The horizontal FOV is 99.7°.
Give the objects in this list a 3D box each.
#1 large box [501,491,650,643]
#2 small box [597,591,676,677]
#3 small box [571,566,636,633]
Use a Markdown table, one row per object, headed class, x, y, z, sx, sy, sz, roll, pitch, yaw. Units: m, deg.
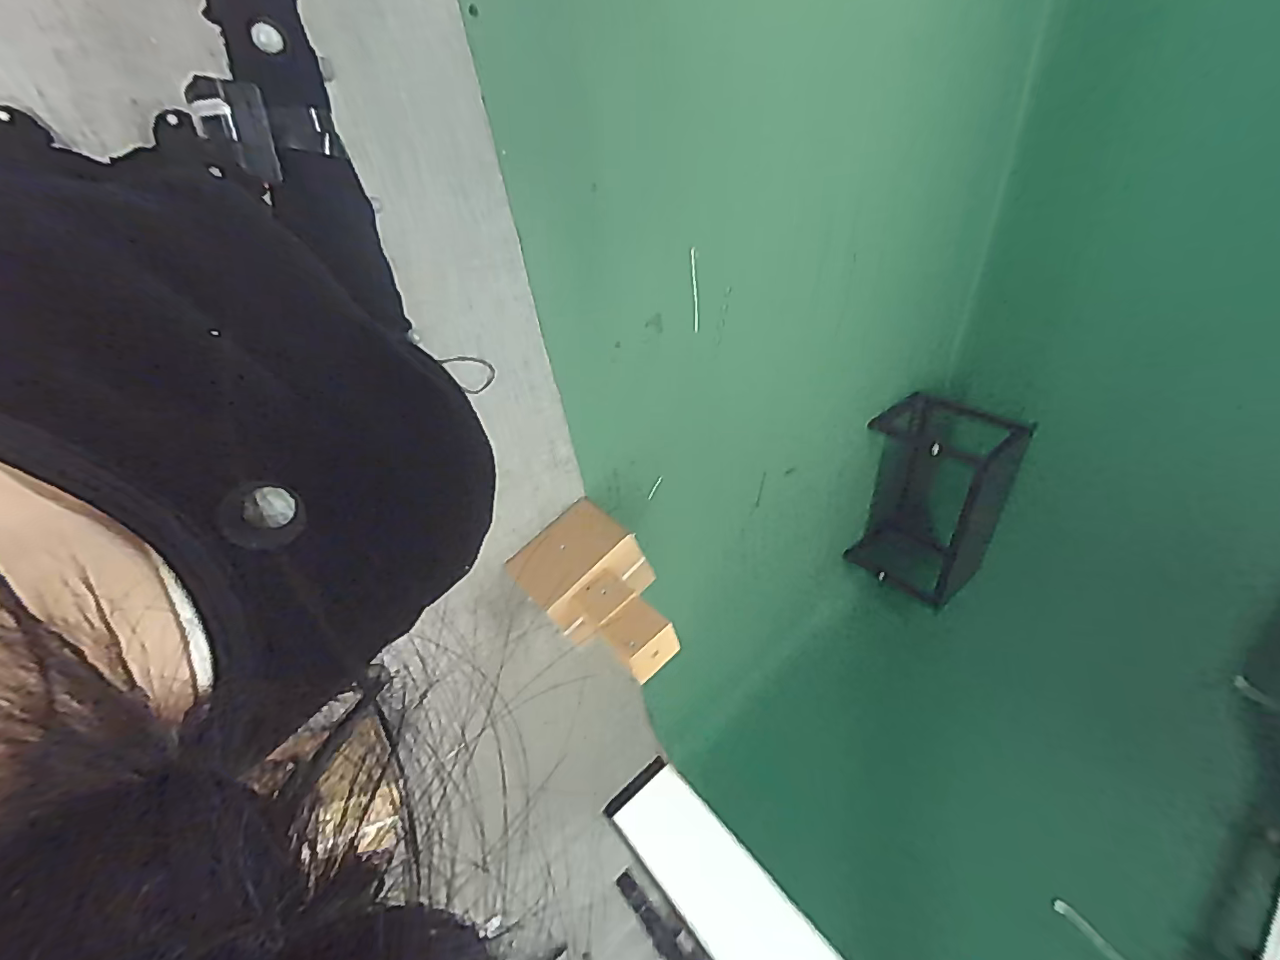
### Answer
| class | x | y | z | sx | sy | sz | roll | pitch | yaw |
| --- | --- | --- | --- | --- | --- | --- | --- | --- | --- |
| large box | -0.242 | 0.324 | 2.059 | 0.408 | 0.320 | 0.320 | -44 | 139 | -17 |
| small box | -0.011 | 0.496 | 1.767 | 0.179 | 0.176 | 0.168 | -37 | 135 | -20 |
| small box | -0.113 | 0.423 | 1.870 | 0.168 | 0.176 | 0.179 | -38 | 135 | -20 |
